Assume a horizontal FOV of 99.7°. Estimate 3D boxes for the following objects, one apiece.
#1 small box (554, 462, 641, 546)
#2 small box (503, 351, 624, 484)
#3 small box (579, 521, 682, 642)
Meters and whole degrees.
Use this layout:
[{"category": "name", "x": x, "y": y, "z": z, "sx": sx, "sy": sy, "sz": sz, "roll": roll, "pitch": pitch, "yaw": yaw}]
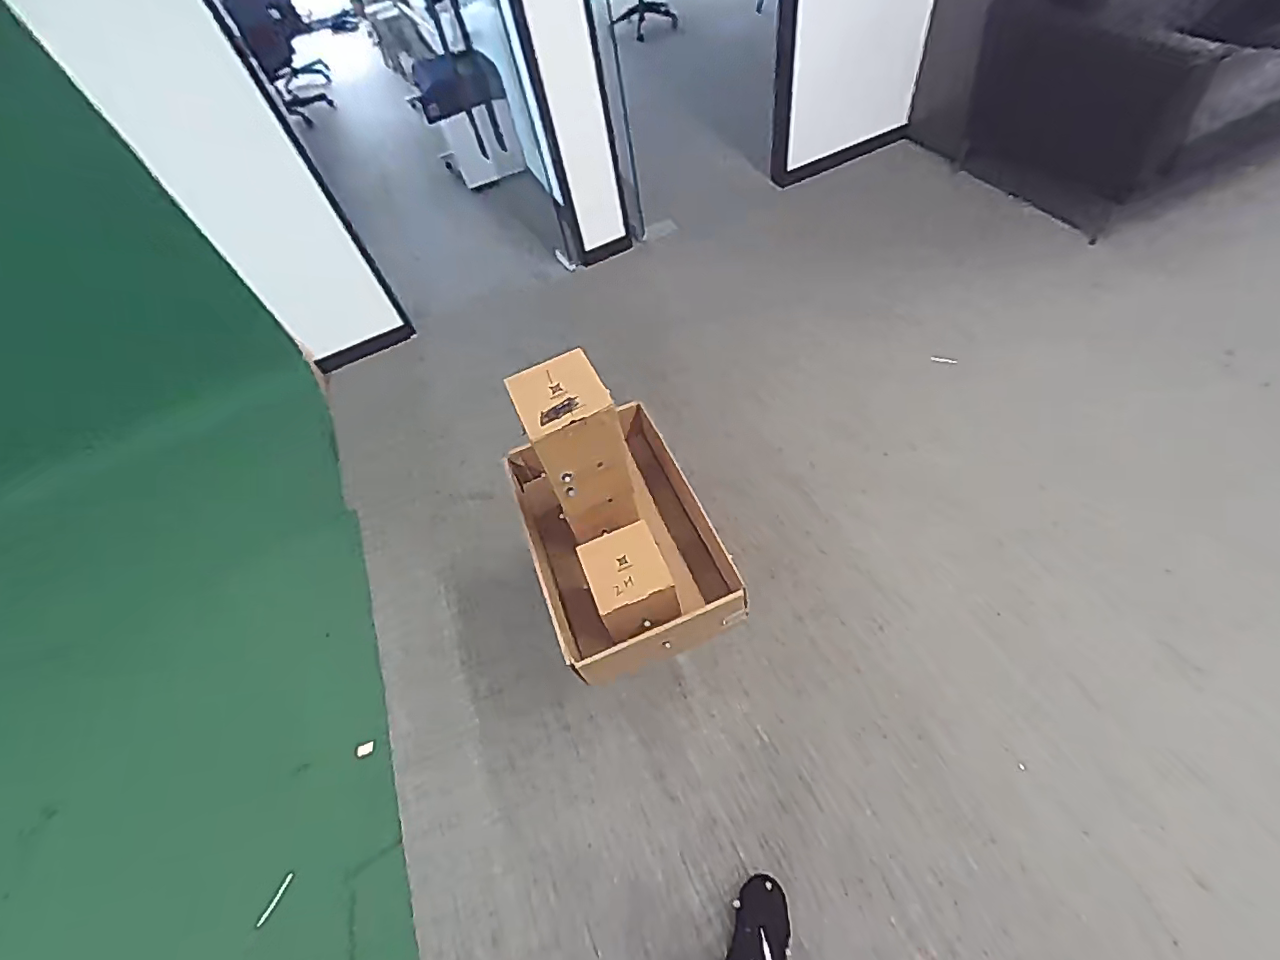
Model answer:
[{"category": "small box", "x": -0.109, "y": 0.048, "z": 1.354, "sx": 0.168, "sy": 0.176, "sz": 0.179, "roll": -24, "pitch": 57, "yaw": -6}, {"category": "small box", "x": -0.145, "y": -0.115, "z": 1.070, "sx": 0.168, "sy": 0.176, "sz": 0.179, "roll": -25, "pitch": 56, "yaw": -8}, {"category": "small box", "x": -0.019, "y": 0.227, "z": 1.199, "sx": 0.168, "sy": 0.176, "sz": 0.179, "roll": -23, "pitch": 52, "yaw": -5}]
